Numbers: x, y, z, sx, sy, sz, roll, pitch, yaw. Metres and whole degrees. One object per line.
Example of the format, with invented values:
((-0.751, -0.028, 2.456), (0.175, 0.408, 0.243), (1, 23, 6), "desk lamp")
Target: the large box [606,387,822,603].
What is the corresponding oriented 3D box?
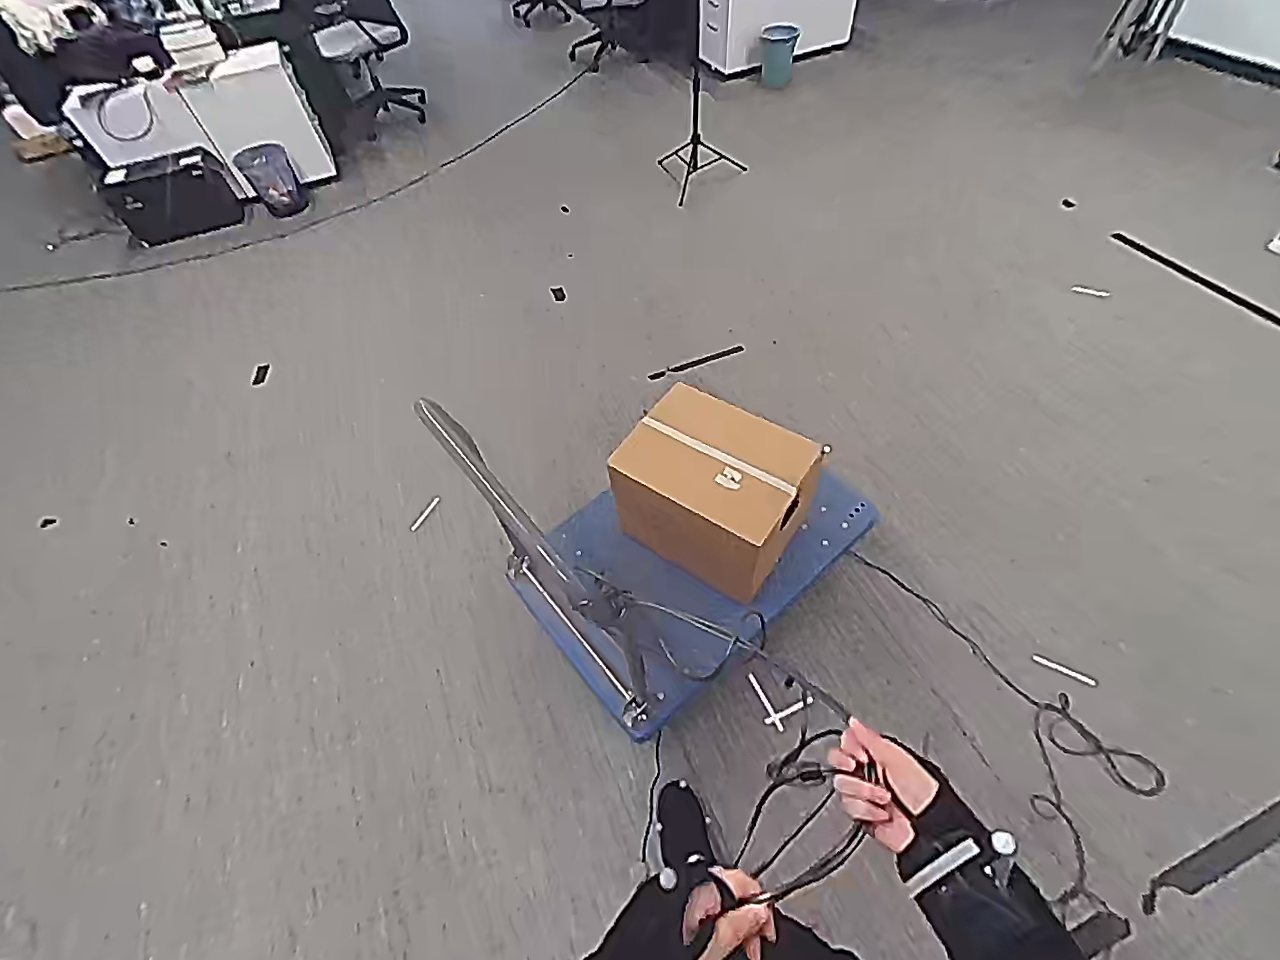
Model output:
((0.174, 0.035, 1.354), (0.408, 0.320, 0.320), (29, 62, 22), "large box")
